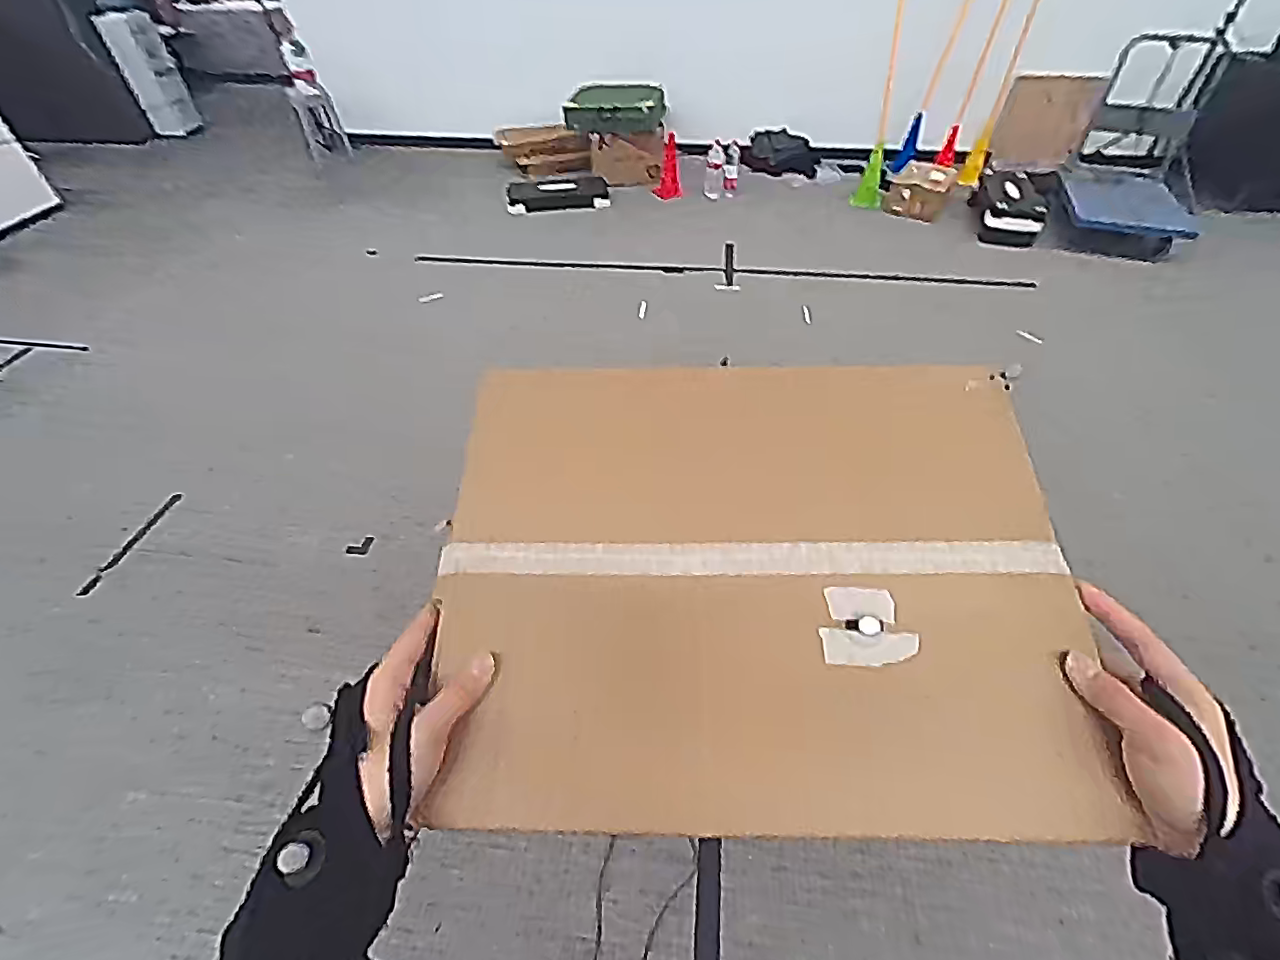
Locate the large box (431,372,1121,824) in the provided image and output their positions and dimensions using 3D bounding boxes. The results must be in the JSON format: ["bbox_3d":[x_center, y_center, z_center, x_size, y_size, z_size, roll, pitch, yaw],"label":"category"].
[{"bbox_3d":[0.078,0.117,0.505,0.408,0.320,0.320,0,66,2],"label":"large box"}]
